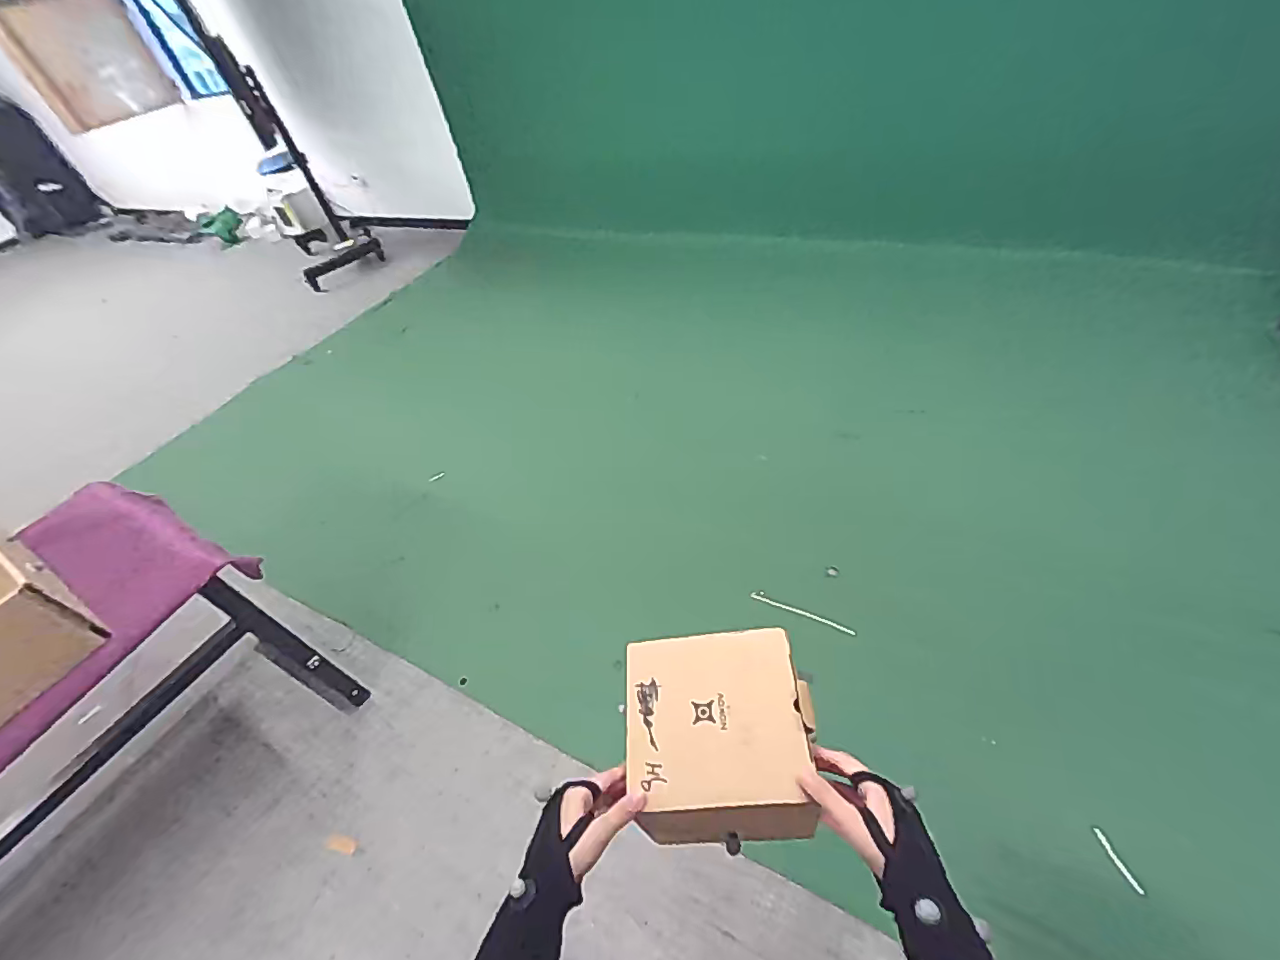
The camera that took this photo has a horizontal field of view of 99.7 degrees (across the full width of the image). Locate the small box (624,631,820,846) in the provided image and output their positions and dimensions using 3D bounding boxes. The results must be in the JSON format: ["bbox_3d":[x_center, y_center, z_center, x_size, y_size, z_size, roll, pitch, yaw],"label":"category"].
[{"bbox_3d":[0.084,0.283,0.586,0.179,0.176,0.168,-8,45,7],"label":"small box"}]
